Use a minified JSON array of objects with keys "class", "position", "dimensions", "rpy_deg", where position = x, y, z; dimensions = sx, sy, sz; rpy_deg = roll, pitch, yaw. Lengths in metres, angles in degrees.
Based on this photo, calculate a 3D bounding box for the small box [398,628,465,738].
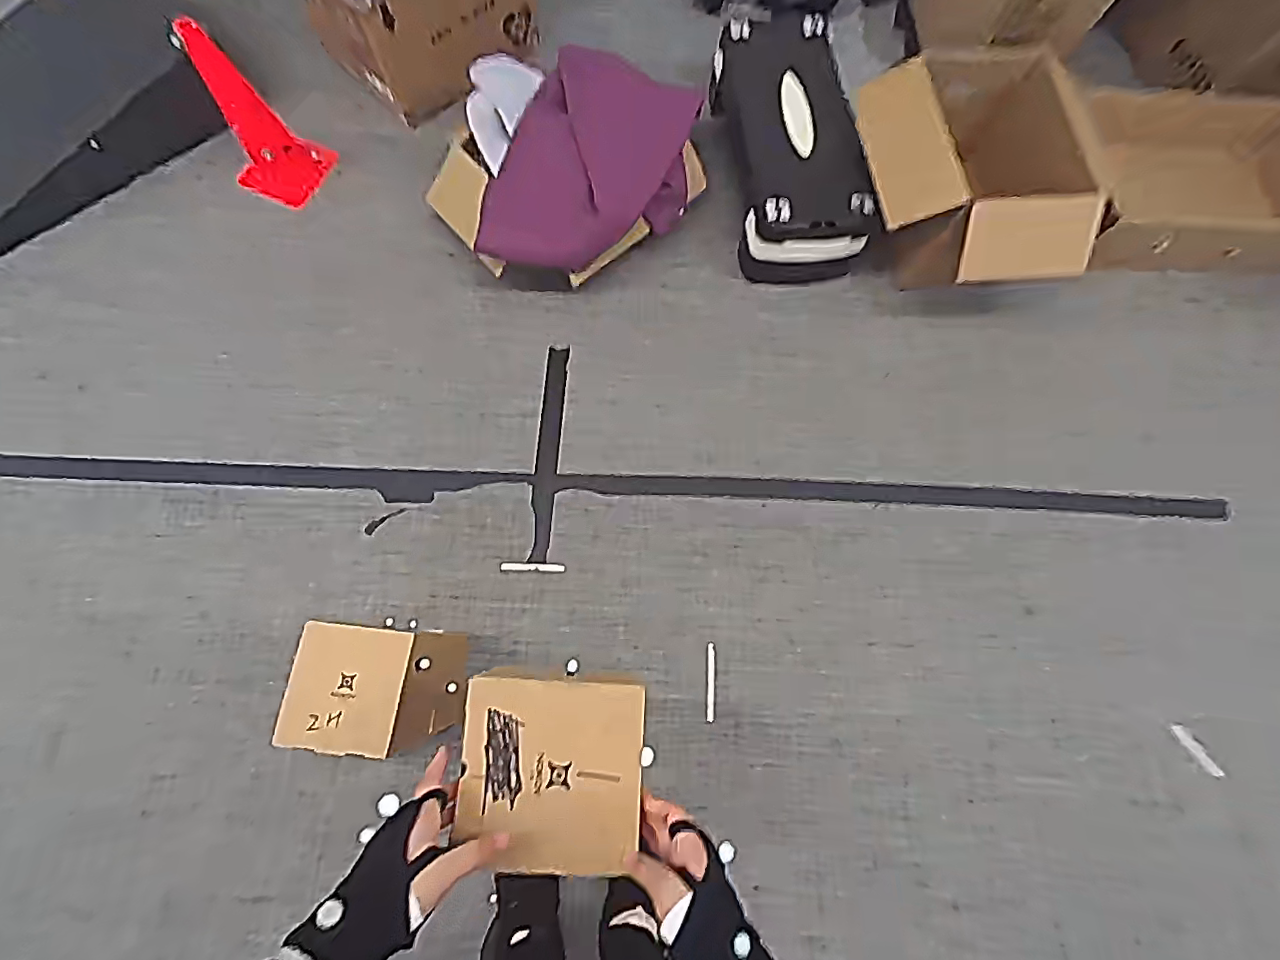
[{"class":"small box","position":[-0.437,0.371,1.014],"dimensions":[0.168,0.176,0.179],"rpy_deg":[2,75,-2]}]

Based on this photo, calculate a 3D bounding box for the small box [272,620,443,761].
[{"class":"small box","position":[-0.428,0.323,0.855],"dimensions":[0.168,0.176,0.179],"rpy_deg":[7,74,0]}]
